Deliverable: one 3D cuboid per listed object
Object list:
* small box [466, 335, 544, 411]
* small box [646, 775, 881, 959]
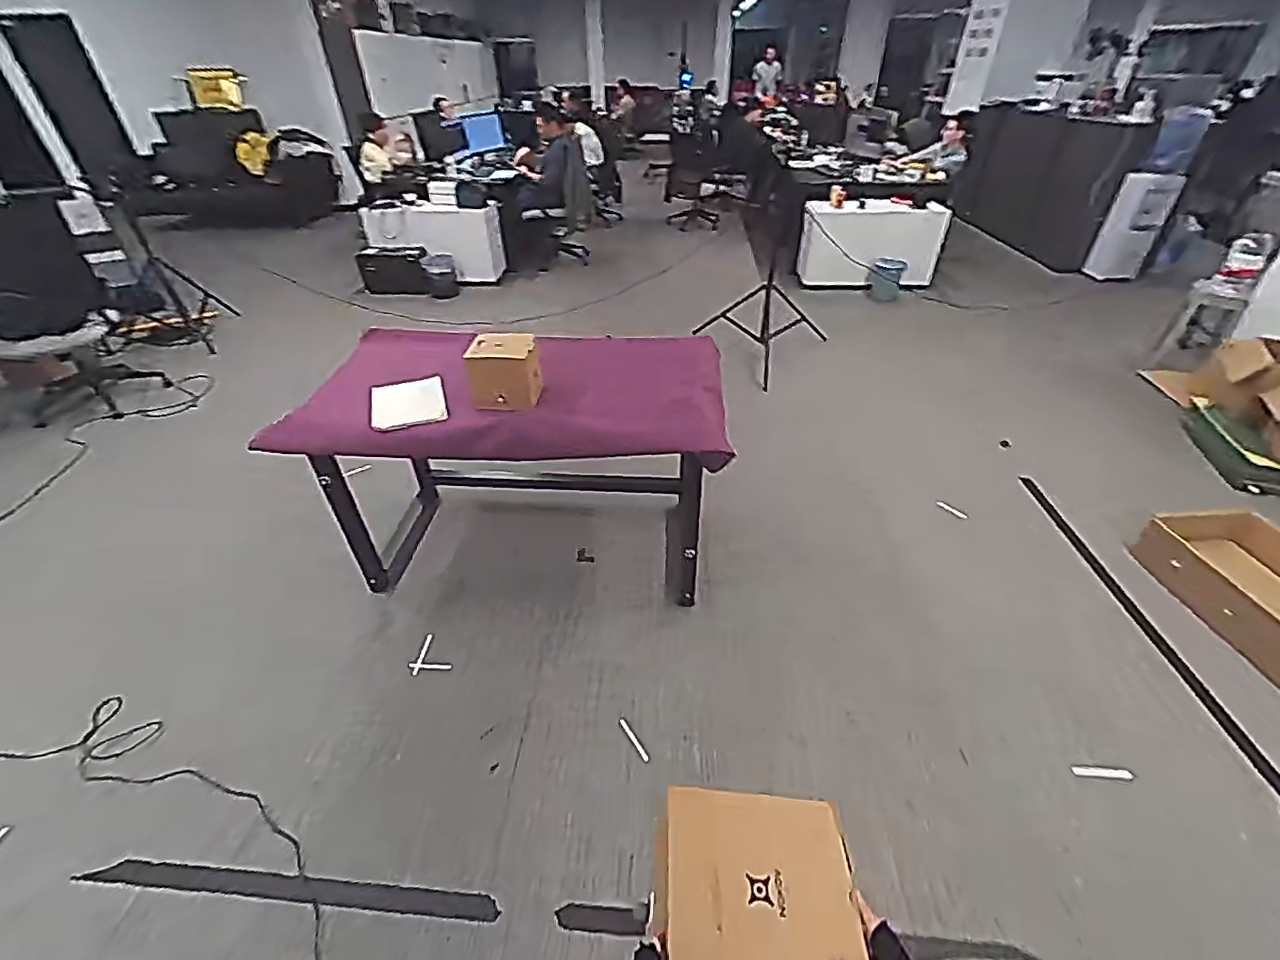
[{"bbox_3d":[-0.389,-0.313,1.597,0.179,0.176,0.168,2,37,3],"label":"small box"},{"bbox_3d":[0.103,0.419,0.525,0.179,0.176,0.168,6,34,-2],"label":"small box"}]
